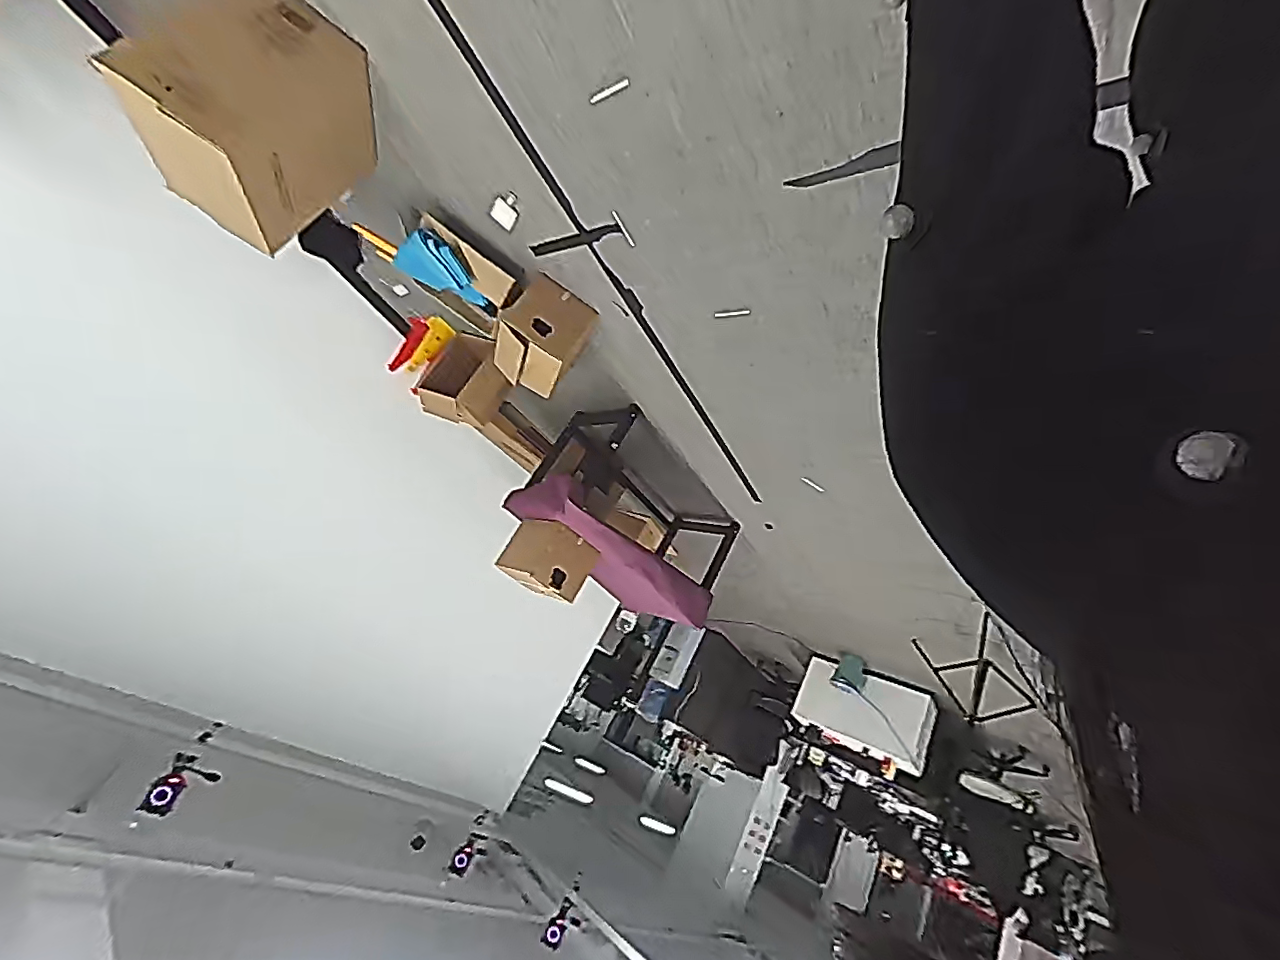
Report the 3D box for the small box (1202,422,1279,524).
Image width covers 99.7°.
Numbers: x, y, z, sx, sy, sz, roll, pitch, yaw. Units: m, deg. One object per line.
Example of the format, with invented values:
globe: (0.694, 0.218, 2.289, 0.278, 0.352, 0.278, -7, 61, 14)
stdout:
small box: (1.431, -0.018, 1.234, 0.179, 0.176, 0.168, 11, 151, 42)
